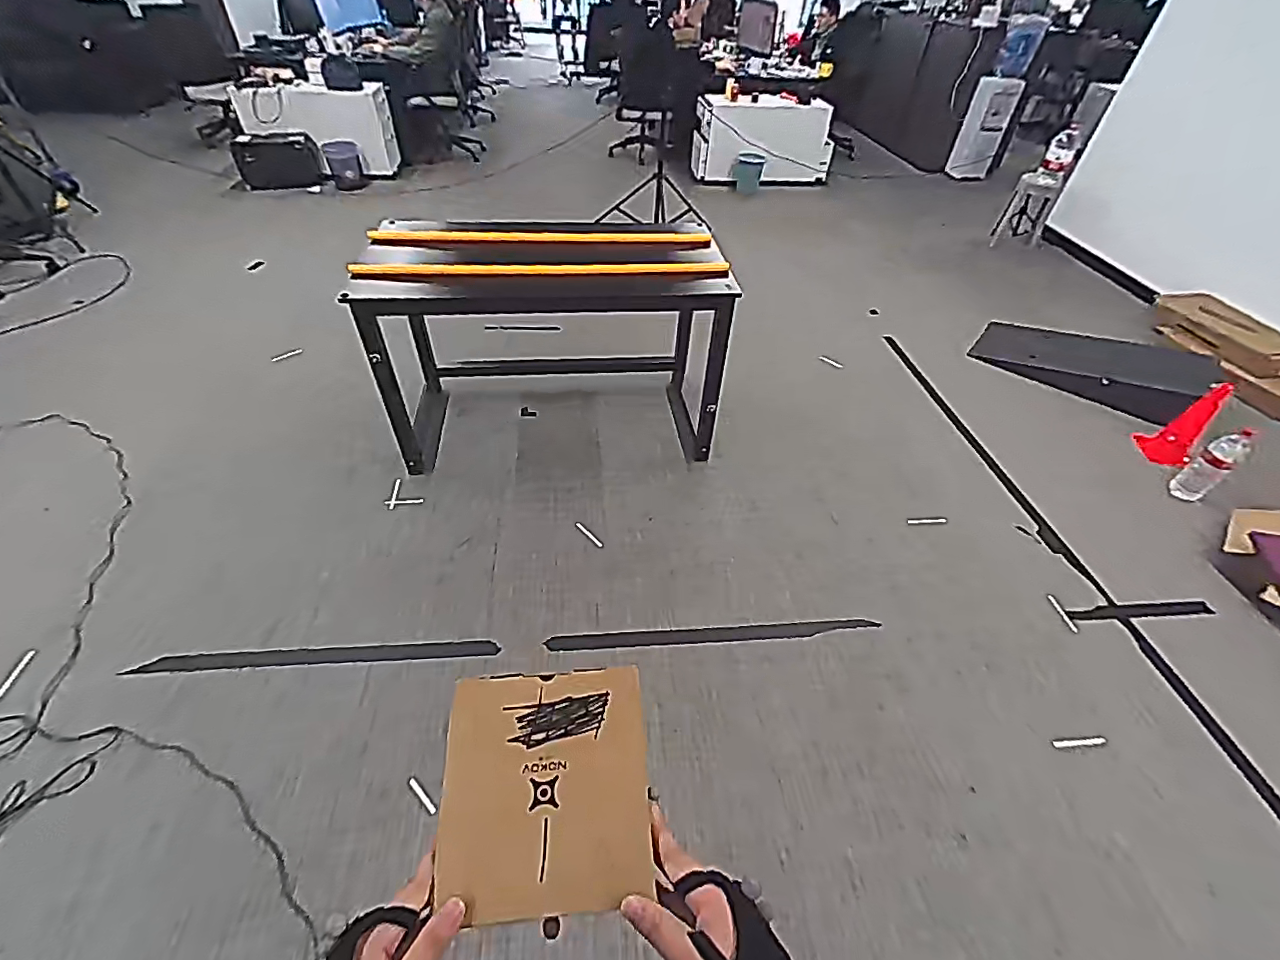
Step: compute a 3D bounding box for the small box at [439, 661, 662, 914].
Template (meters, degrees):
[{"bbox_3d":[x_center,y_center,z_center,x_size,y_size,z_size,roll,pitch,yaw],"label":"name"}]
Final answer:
[{"bbox_3d":[-0.074,0.289,0.508,0.168,0.176,0.179,-3,53,-4],"label":"small box"}]
